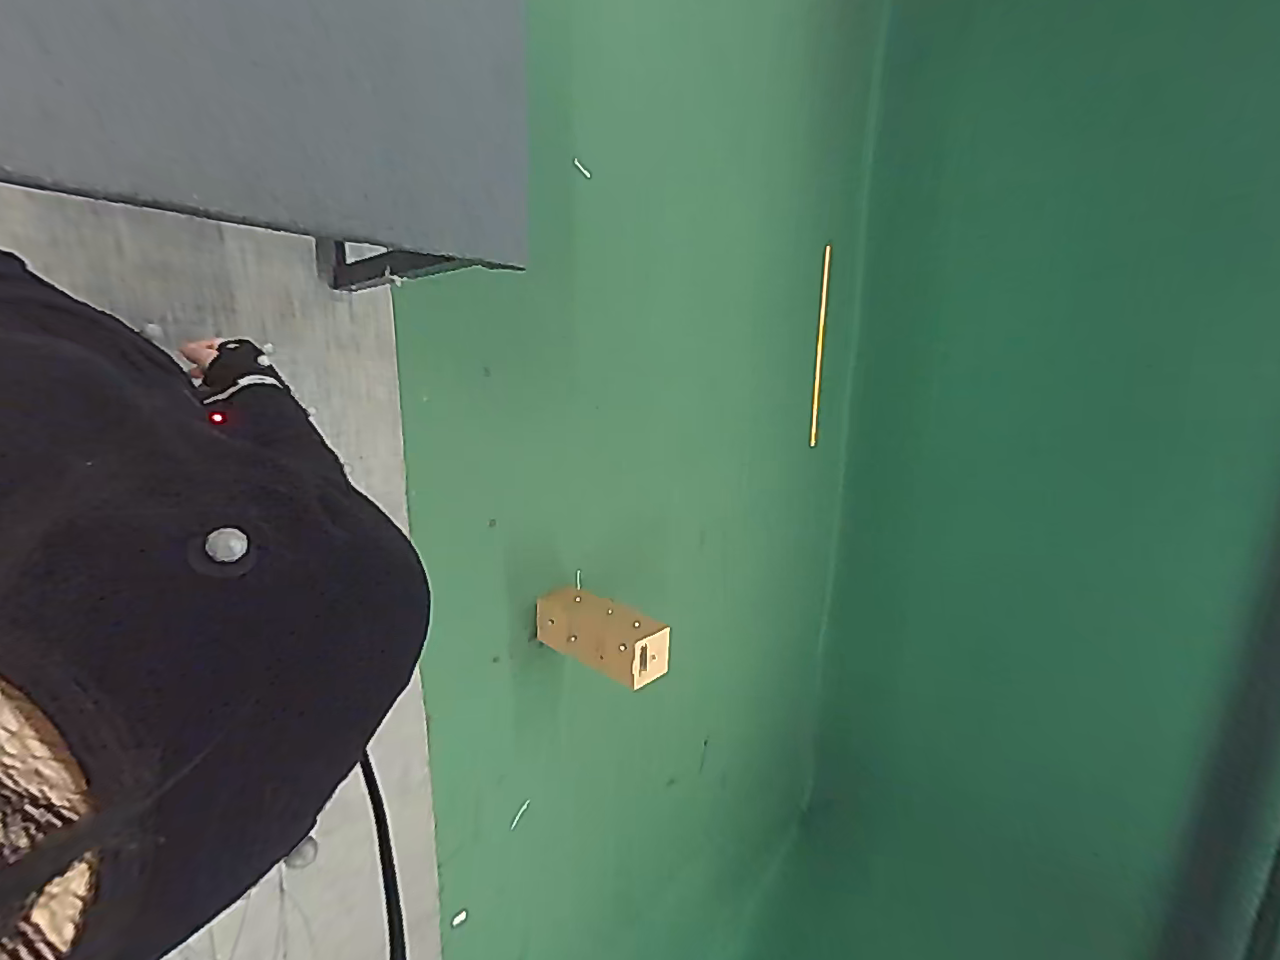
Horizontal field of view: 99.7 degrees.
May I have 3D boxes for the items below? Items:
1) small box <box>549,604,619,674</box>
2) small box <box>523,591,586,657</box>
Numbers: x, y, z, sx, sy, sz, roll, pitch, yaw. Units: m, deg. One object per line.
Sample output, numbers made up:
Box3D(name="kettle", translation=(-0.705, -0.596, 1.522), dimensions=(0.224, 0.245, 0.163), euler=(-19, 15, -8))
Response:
Box3D(name="small box", translation=(-0.198, 0.553, 1.909), dimensions=(0.179, 0.176, 0.168), euler=(-7, 103, -49))
Box3D(name="small box", translation=(-0.323, 0.531, 2.015), dimensions=(0.179, 0.176, 0.168), euler=(-11, 106, -49))
